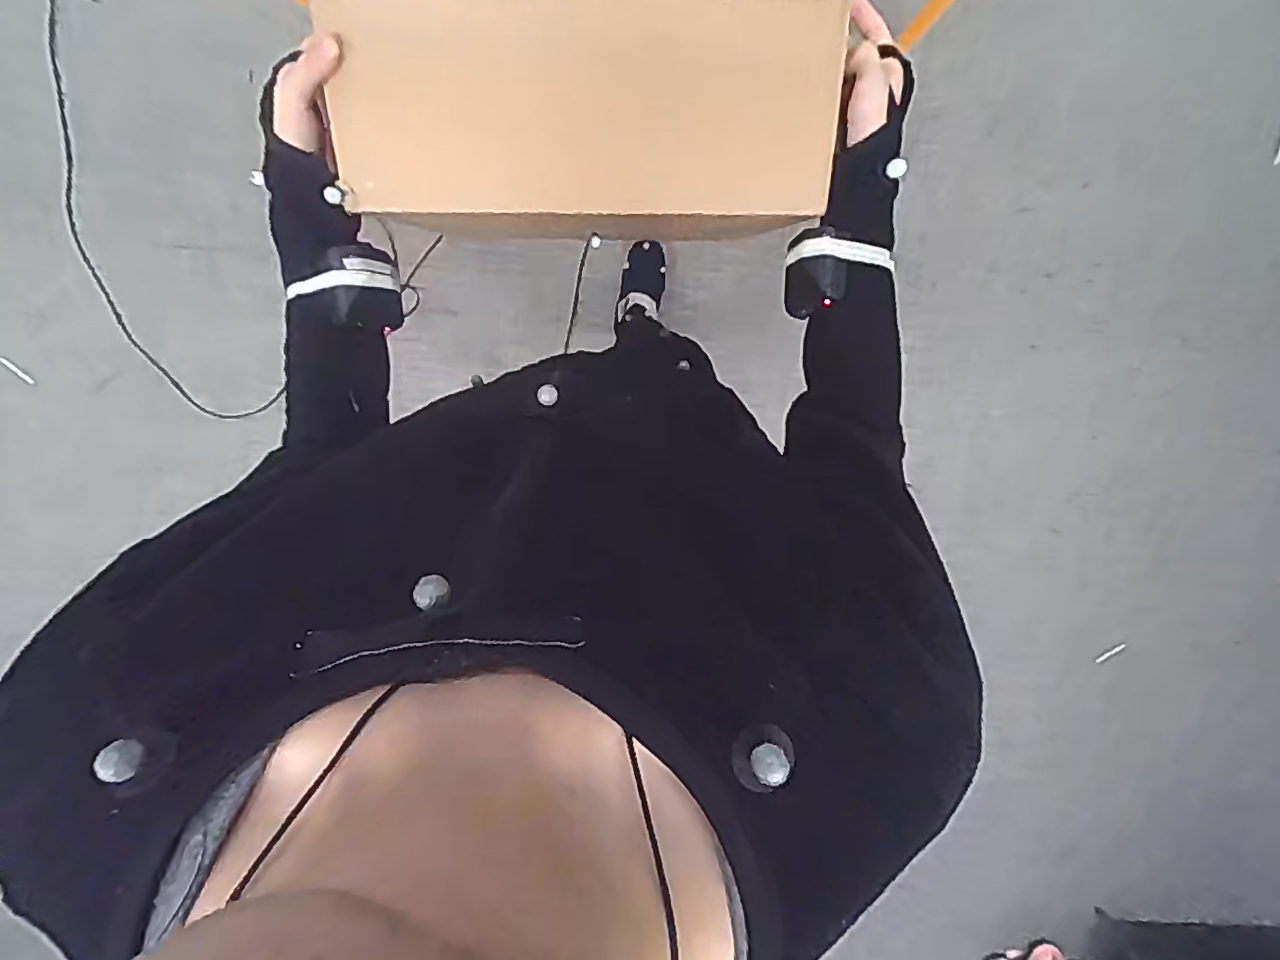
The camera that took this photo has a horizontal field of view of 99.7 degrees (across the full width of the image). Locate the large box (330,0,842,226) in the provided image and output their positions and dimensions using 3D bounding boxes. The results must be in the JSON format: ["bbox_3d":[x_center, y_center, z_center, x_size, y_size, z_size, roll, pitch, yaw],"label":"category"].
[{"bbox_3d":[-0.043,-0.438,0.550,0.408,0.320,0.320,-1,110,-3],"label":"large box"}]
